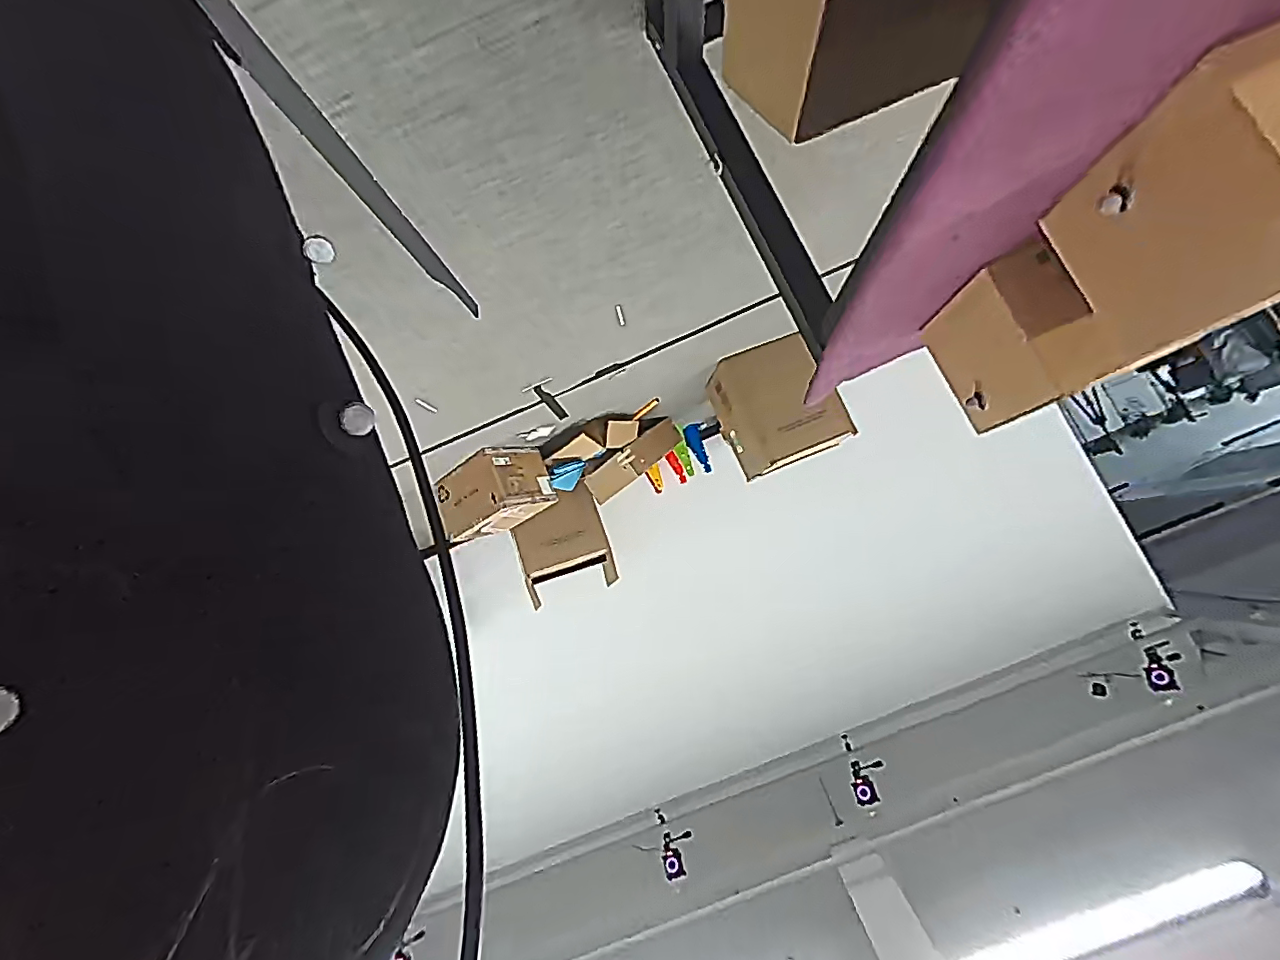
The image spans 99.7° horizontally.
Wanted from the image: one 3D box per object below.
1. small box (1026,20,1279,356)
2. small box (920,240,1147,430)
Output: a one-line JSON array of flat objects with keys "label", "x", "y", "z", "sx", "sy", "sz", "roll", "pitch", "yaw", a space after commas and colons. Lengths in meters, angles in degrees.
[{"label": "small box", "x": 0.479, "y": -0.230, "z": 0.435, "sx": 0.168, "sy": 0.176, "sz": 0.179, "roll": -24, "pitch": 169, "yaw": 0}, {"label": "small box", "x": 0.487, "y": -0.188, "z": 0.677, "sx": 0.168, "sy": 0.176, "sz": 0.179, "roll": -25, "pitch": 170, "yaw": 0}]
